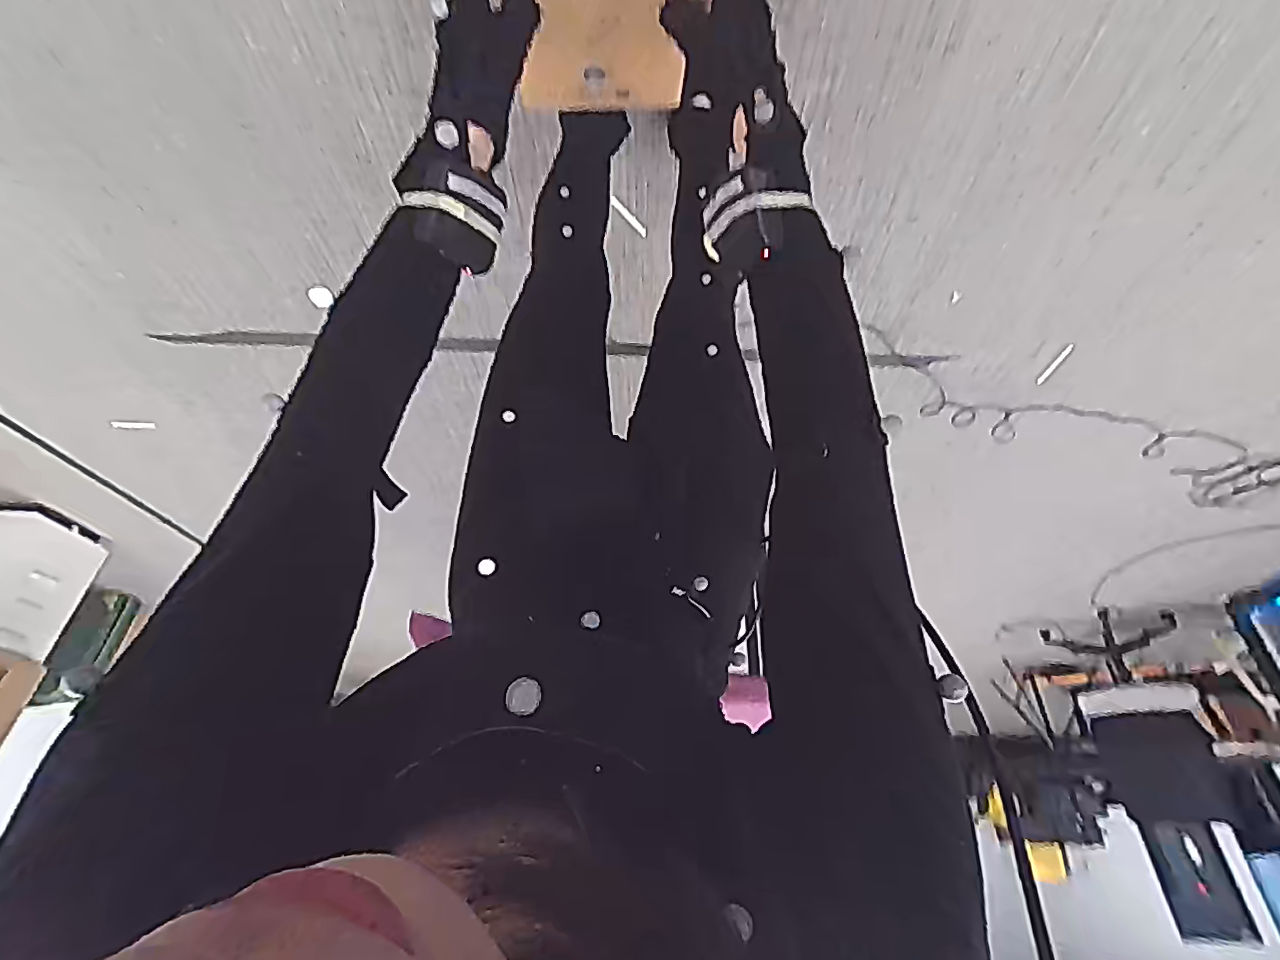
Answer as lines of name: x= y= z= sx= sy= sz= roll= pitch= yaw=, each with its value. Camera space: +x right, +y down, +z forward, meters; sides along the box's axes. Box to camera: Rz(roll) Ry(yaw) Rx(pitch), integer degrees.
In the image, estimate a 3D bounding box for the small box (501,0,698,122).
small box: x=-0.040 y=-0.472 z=0.497 sx=0.168 sy=0.179 sz=0.176 roll=-2 pitch=179 yaw=-2
